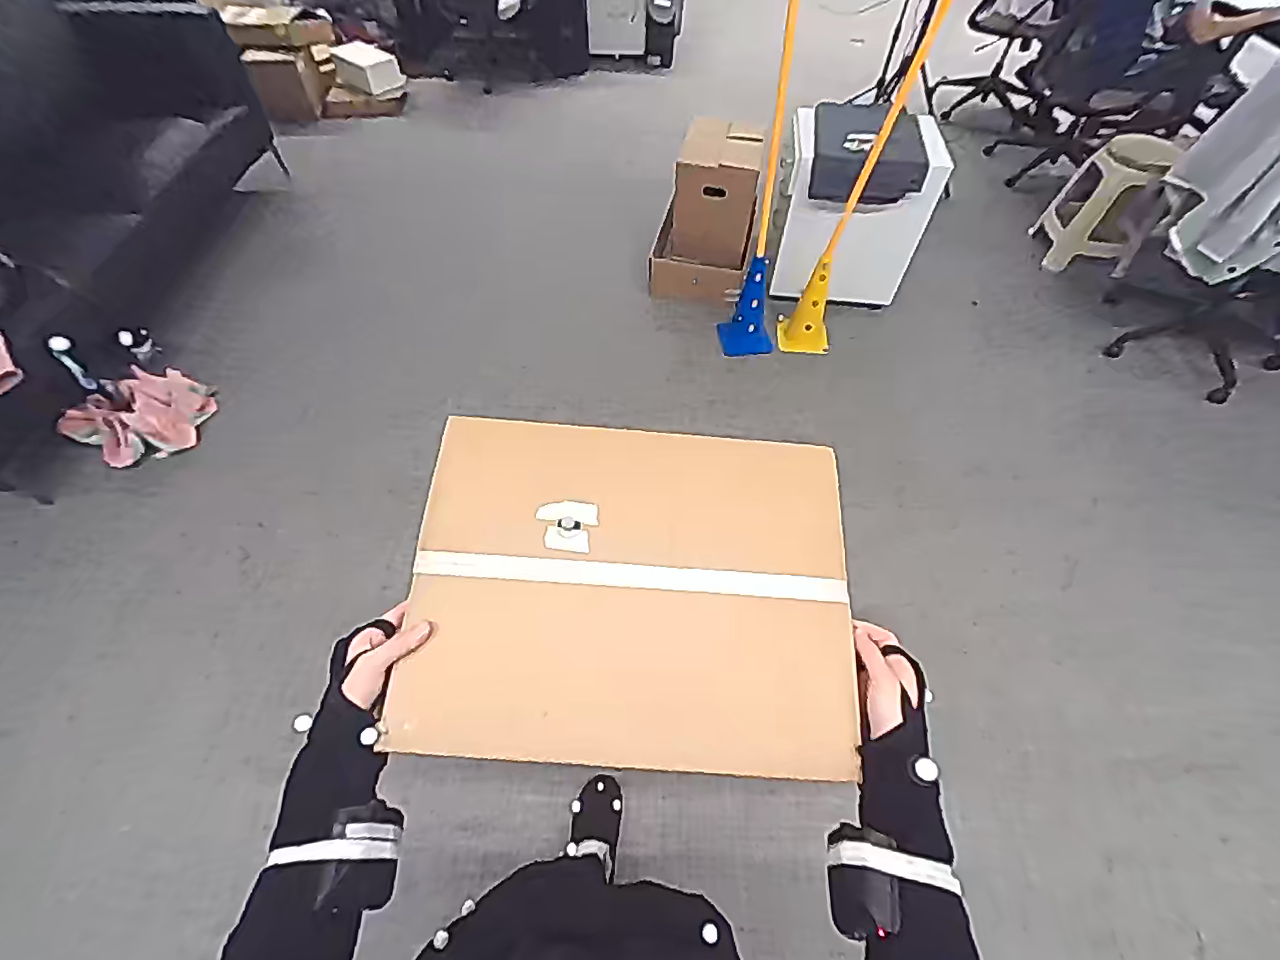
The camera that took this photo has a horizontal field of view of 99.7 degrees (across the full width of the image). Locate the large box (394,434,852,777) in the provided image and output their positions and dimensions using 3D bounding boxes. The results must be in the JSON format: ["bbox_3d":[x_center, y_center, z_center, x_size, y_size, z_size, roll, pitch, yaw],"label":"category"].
[{"bbox_3d":[-0.009,0.159,0.658,0.408,0.320,0.320,4,66,0],"label":"large box"}]
